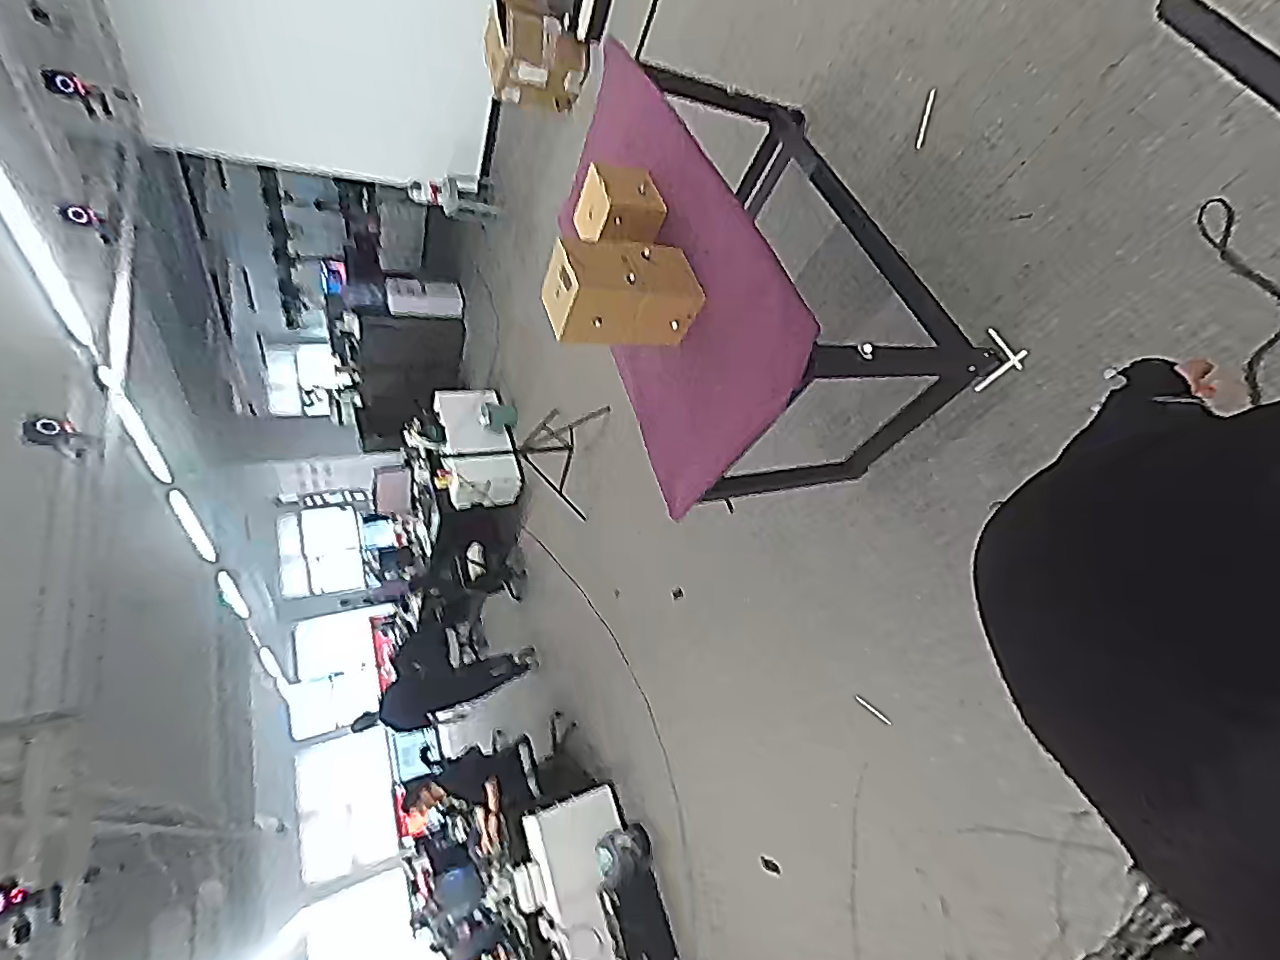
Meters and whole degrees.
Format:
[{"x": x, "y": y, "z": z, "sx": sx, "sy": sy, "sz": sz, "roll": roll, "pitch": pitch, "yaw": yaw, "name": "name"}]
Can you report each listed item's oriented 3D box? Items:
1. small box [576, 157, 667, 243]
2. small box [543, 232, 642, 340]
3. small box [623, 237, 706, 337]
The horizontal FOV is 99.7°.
[{"x": -0.051, "y": -0.721, "z": 1.447, "sx": 0.179, "sy": 0.176, "sz": 0.168, "roll": -53, "pitch": 51, "yaw": 52, "name": "small box"}, {"x": -0.111, "y": -0.450, "z": 1.274, "sx": 0.179, "sy": 0.176, "sz": 0.168, "roll": -55, "pitch": 49, "yaw": 51, "name": "small box"}, {"x": 0.035, "y": -0.471, "z": 1.348, "sx": 0.168, "sy": 0.176, "sz": 0.179, "roll": -53, "pitch": 51, "yaw": 52, "name": "small box"}]
